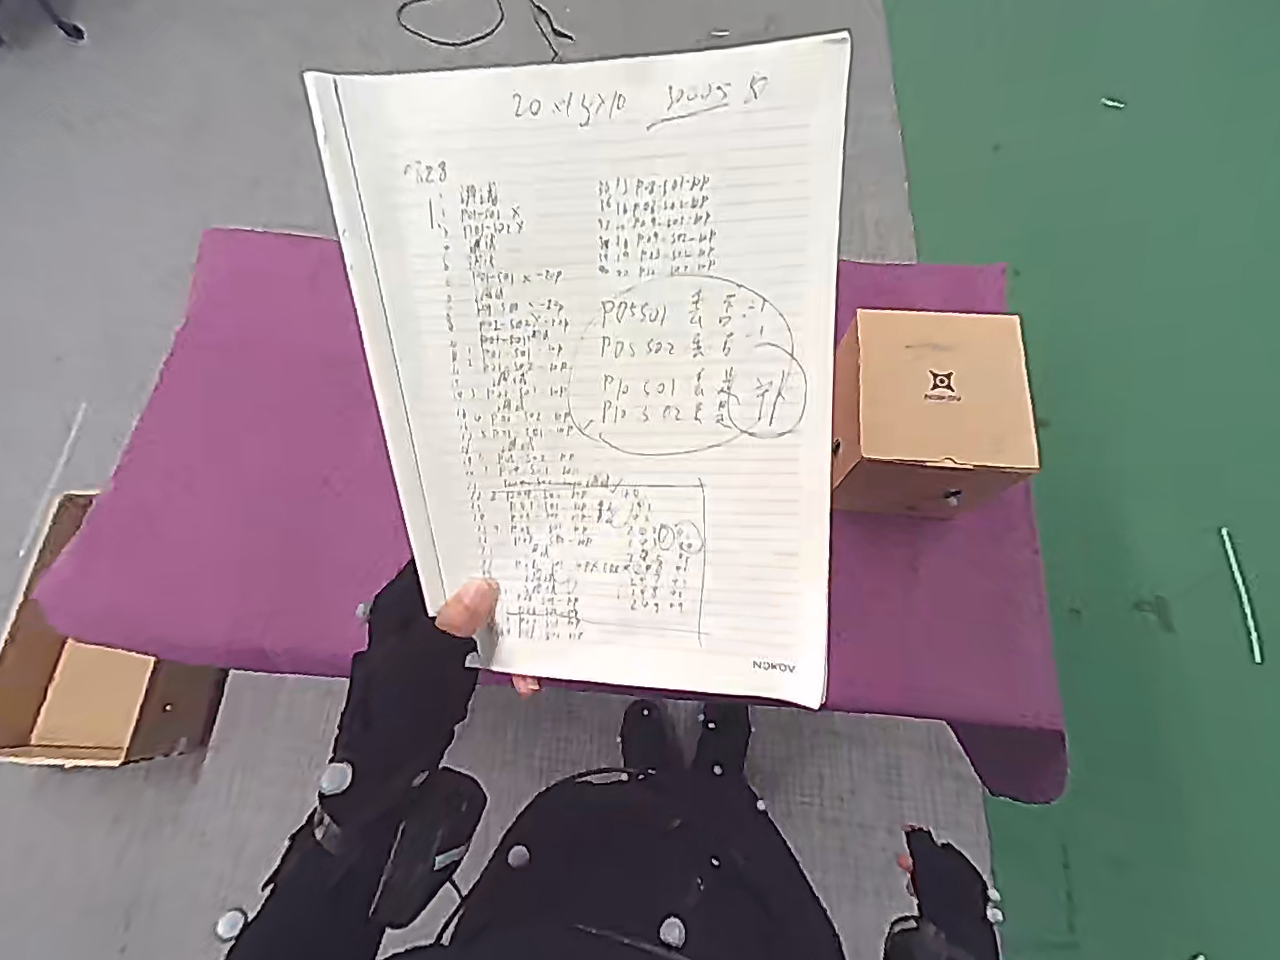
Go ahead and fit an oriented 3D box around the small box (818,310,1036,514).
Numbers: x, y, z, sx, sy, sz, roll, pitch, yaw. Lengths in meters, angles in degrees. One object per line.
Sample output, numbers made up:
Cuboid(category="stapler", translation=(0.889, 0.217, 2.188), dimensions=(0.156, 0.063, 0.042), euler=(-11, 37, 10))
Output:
Cuboid(category="small box", translation=(0.308, -0.067, 0.619), dimensions=(0.168, 0.176, 0.179), euler=(5, 71, 5))
